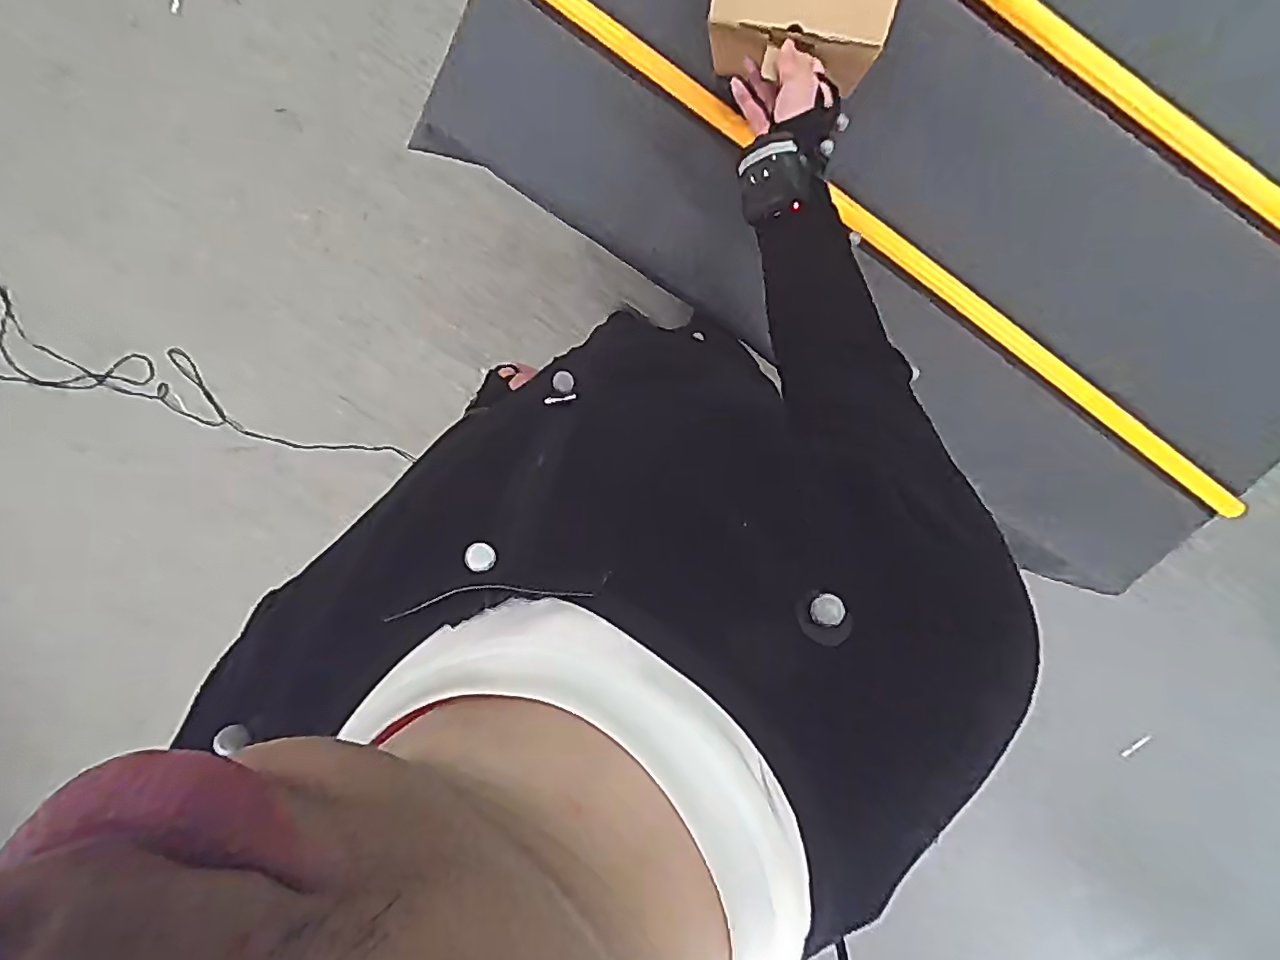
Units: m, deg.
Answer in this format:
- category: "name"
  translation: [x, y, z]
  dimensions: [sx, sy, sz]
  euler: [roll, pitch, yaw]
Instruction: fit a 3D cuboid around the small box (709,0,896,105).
- category: "small box"
  translation: [0.174, -0.511, 0.552]
  dimensions: [0.168, 0.176, 0.179]
  euler: [12, 113, 7]
